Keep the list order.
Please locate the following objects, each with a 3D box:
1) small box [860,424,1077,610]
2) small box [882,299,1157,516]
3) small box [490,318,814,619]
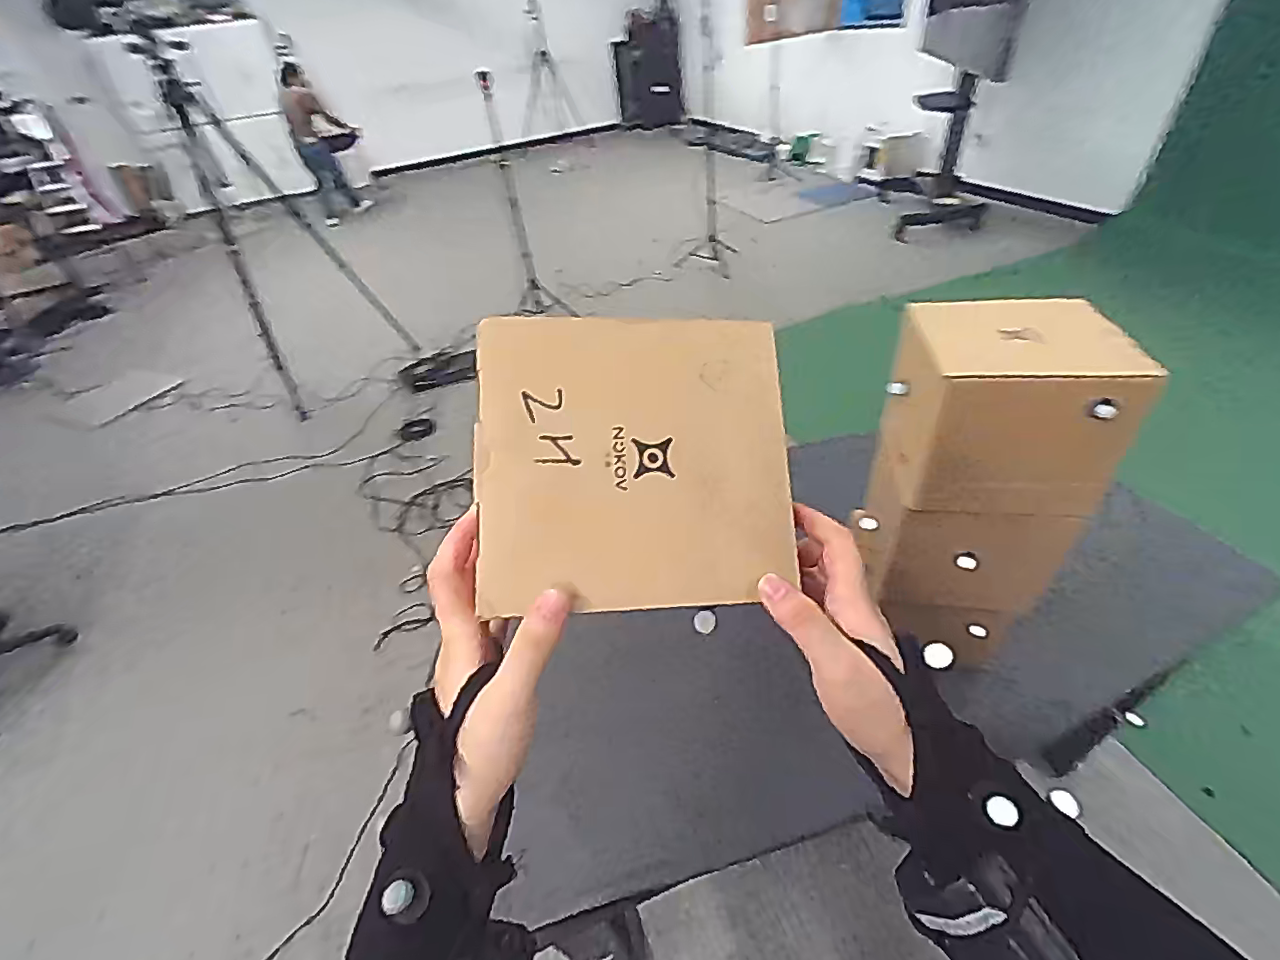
[{"bbox_3d":[0.390,0.045,0.681,0.179,0.176,0.168,3,41,13],"label":"small box"},{"bbox_3d":[0.369,-0.077,0.575,0.179,0.176,0.168,1,41,11],"label":"small box"},{"bbox_3d":[-0.002,0.004,0.375,0.179,0.176,0.168,-1,79,-6],"label":"small box"}]
